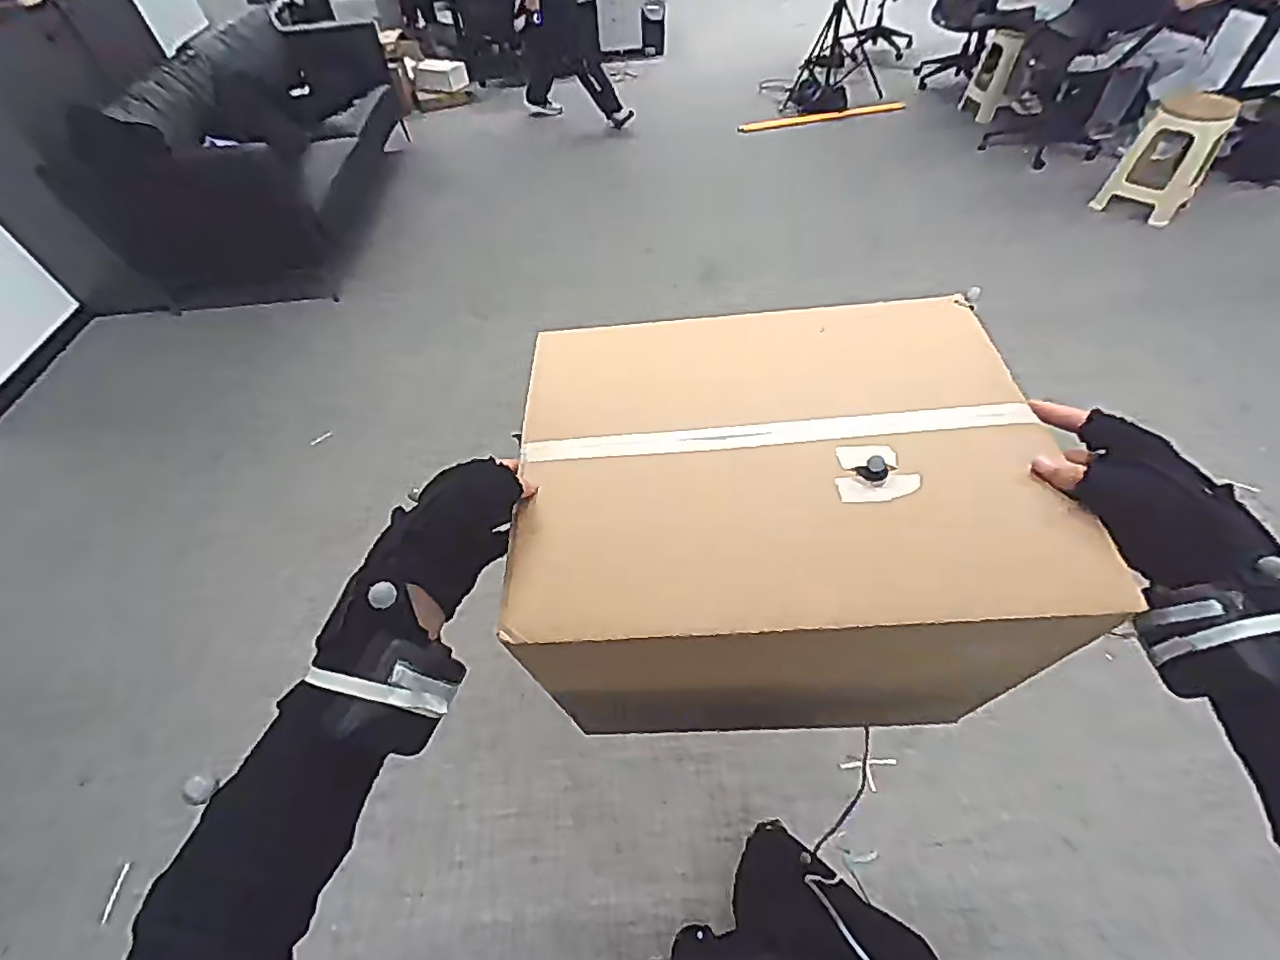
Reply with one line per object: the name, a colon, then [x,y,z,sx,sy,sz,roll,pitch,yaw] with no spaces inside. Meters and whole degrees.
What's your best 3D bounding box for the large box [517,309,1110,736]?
large box: [0.118,0.061,0.567,0.408,0.320,0.320,-5,54,4]
